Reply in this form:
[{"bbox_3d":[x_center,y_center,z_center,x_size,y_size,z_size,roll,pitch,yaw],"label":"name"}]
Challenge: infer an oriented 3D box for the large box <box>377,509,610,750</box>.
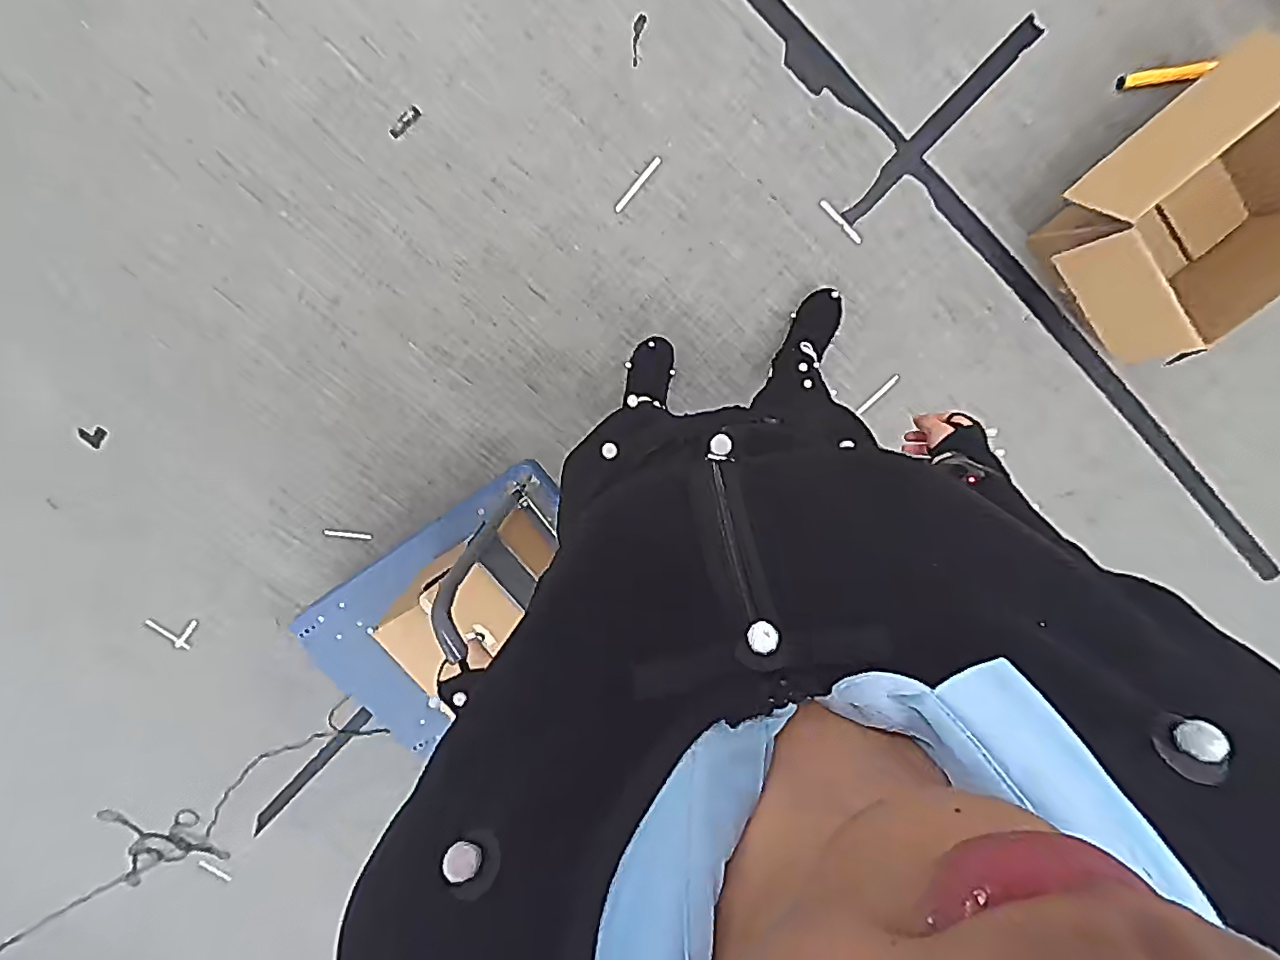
[{"bbox_3d":[-0.322,0.348,1.313,0.320,0.320,0.408,-33,103,11],"label":"large box"}]
